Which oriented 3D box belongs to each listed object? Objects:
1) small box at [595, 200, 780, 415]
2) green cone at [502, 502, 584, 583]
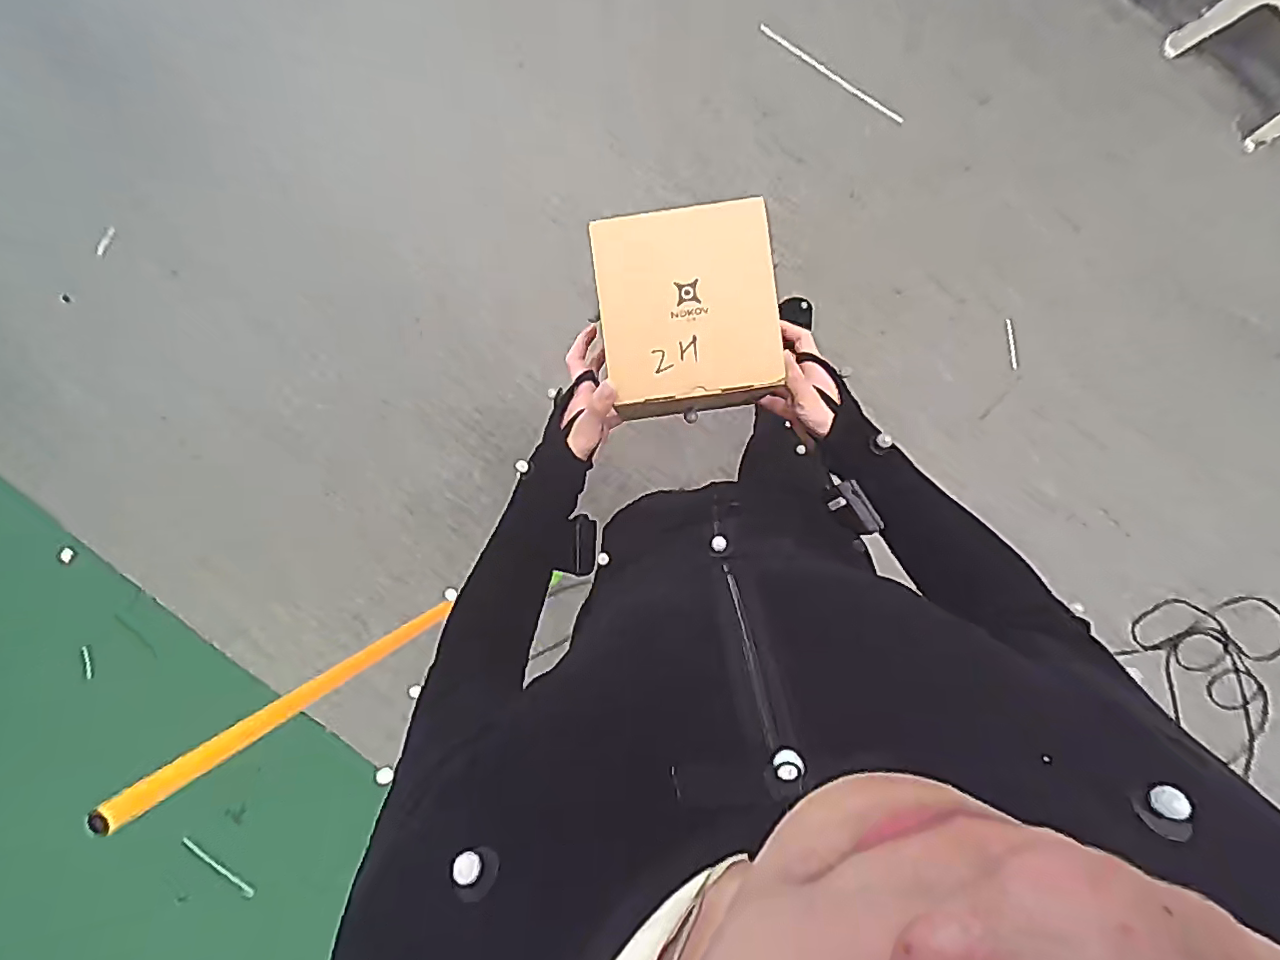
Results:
[{"bbox_3d":[0.046,-0.173,0.593,0.168,0.176,0.179,-7,92,2],"label":"small box"},{"bbox_3d":[-0.311,0.207,1.491,0.202,0.368,0.200,36,96,0],"label":"green cone"}]
